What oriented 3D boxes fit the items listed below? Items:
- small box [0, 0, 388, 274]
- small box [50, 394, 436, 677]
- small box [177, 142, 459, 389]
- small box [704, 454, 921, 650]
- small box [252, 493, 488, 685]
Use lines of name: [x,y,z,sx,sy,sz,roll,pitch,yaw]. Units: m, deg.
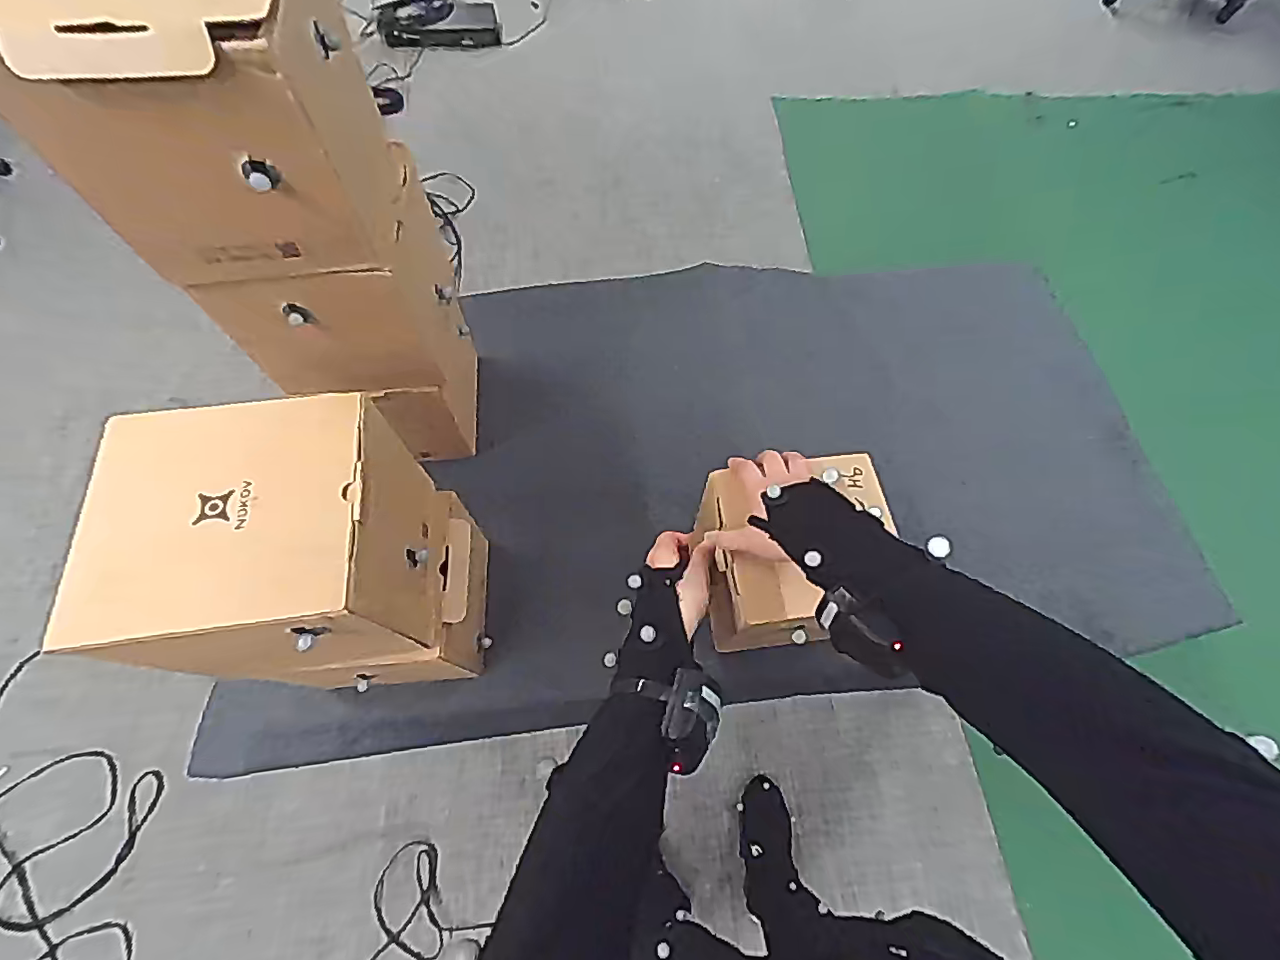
small box: [-0.299,-0.271,0.397,0.168,0.176,0.179,-7,65,-7]
small box: [-0.277,0.054,0.431,0.179,0.176,0.168,-7,66,-6]
small box: [-0.298,-0.205,0.546,0.179,0.176,0.168,-4,67,-4]
small box: [0.171,0.089,0.609,0.179,0.176,0.168,-6,65,-3]
small box: [-0.267,0.123,0.578,0.179,0.176,0.168,-4,66,-3]
